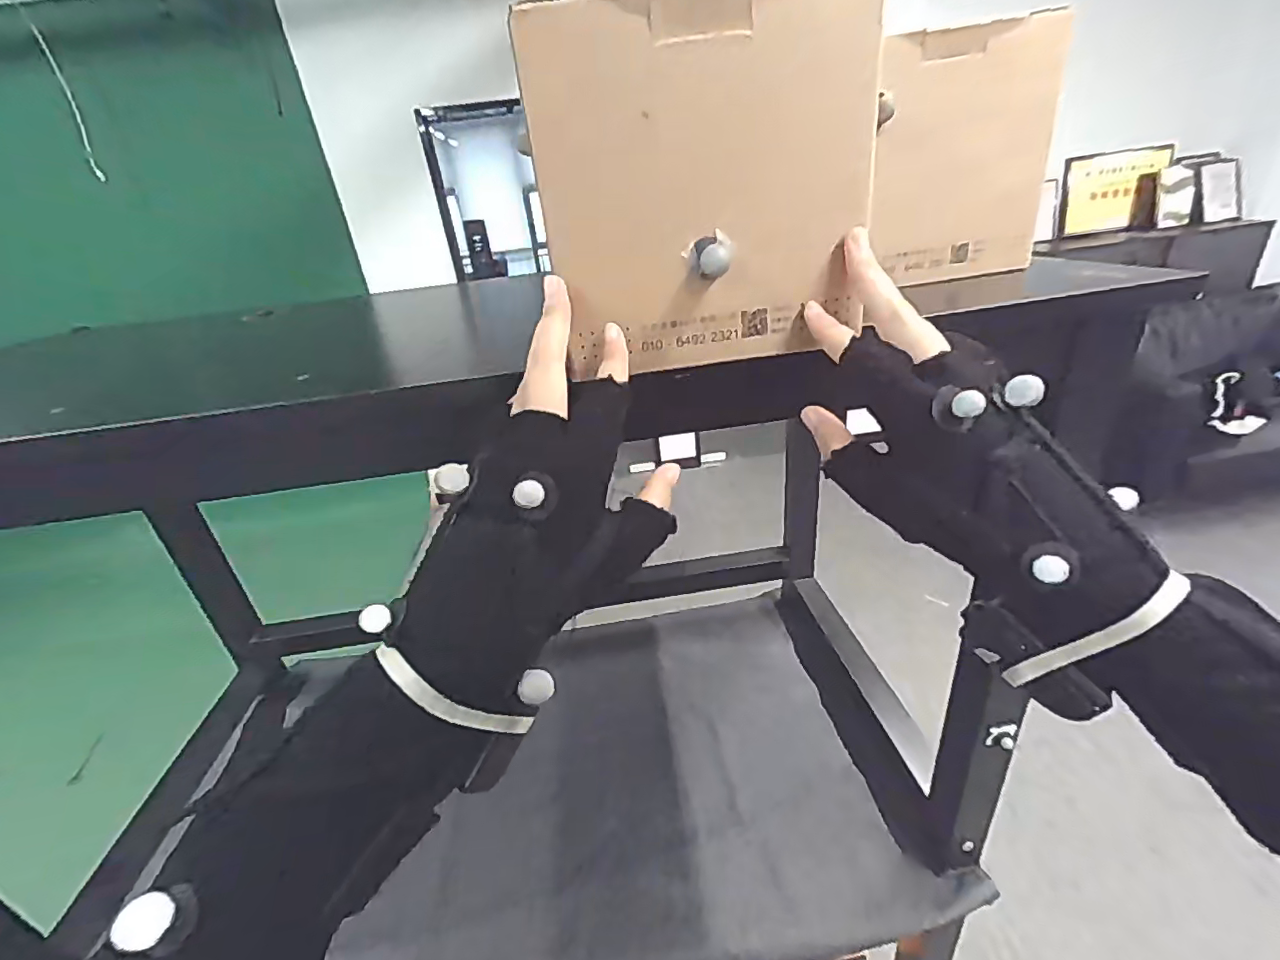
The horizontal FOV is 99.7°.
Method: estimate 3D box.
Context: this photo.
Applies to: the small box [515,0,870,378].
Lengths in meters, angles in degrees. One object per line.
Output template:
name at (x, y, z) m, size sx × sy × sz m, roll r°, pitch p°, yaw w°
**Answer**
small box at (0.027, -0.174, 0.353) m, size 0.168 × 0.176 × 0.179 m, roll -8°, pitch 27°, yaw -1°
